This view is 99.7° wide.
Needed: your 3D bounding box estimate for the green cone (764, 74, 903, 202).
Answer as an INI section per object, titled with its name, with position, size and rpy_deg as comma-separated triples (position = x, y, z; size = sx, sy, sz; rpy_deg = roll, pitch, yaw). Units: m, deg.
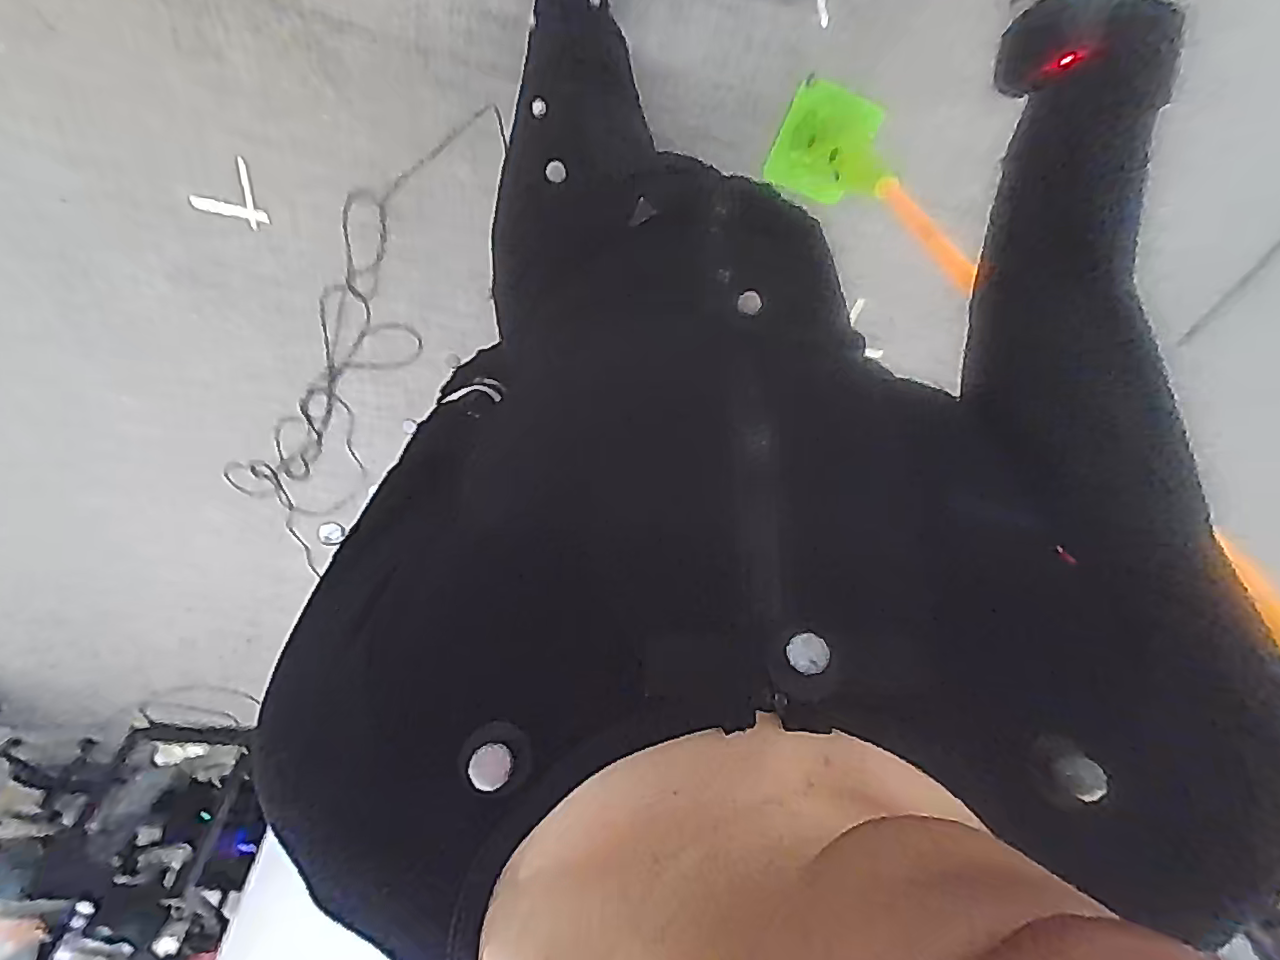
[green cone]
position = 0.404, -0.610, 1.039
size = 0.202, 0.368, 0.200
rpy_deg = 12, 131, -16
